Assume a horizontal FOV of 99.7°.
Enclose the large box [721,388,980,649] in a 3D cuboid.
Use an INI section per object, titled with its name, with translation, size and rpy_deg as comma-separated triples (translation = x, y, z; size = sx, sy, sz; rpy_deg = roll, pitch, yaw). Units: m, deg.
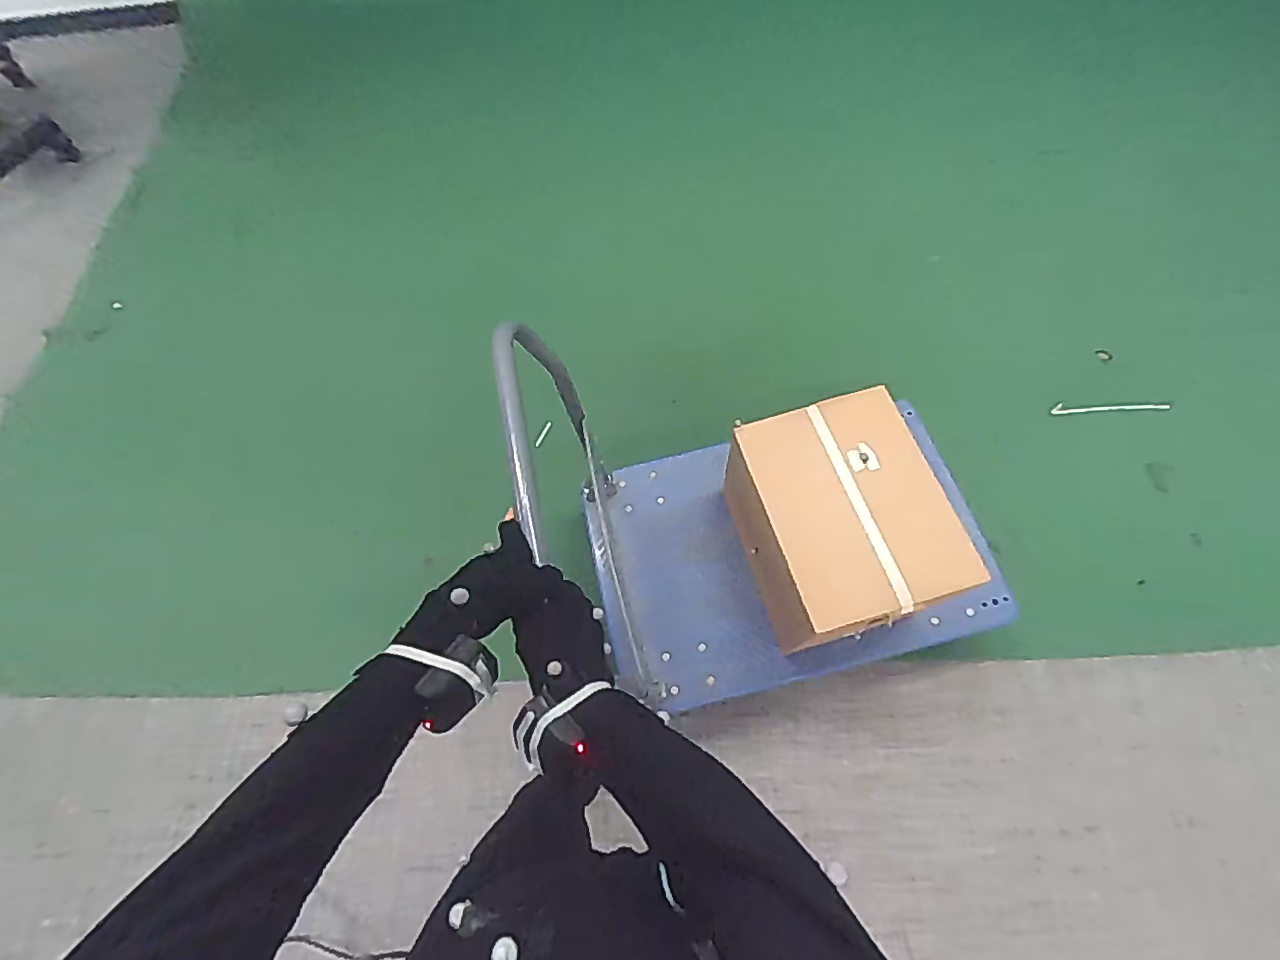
[large box]
translation = 0.385, 0.091, 1.113
size = 0.320, 0.320, 0.408
rpy_deg = -16, 66, -4
